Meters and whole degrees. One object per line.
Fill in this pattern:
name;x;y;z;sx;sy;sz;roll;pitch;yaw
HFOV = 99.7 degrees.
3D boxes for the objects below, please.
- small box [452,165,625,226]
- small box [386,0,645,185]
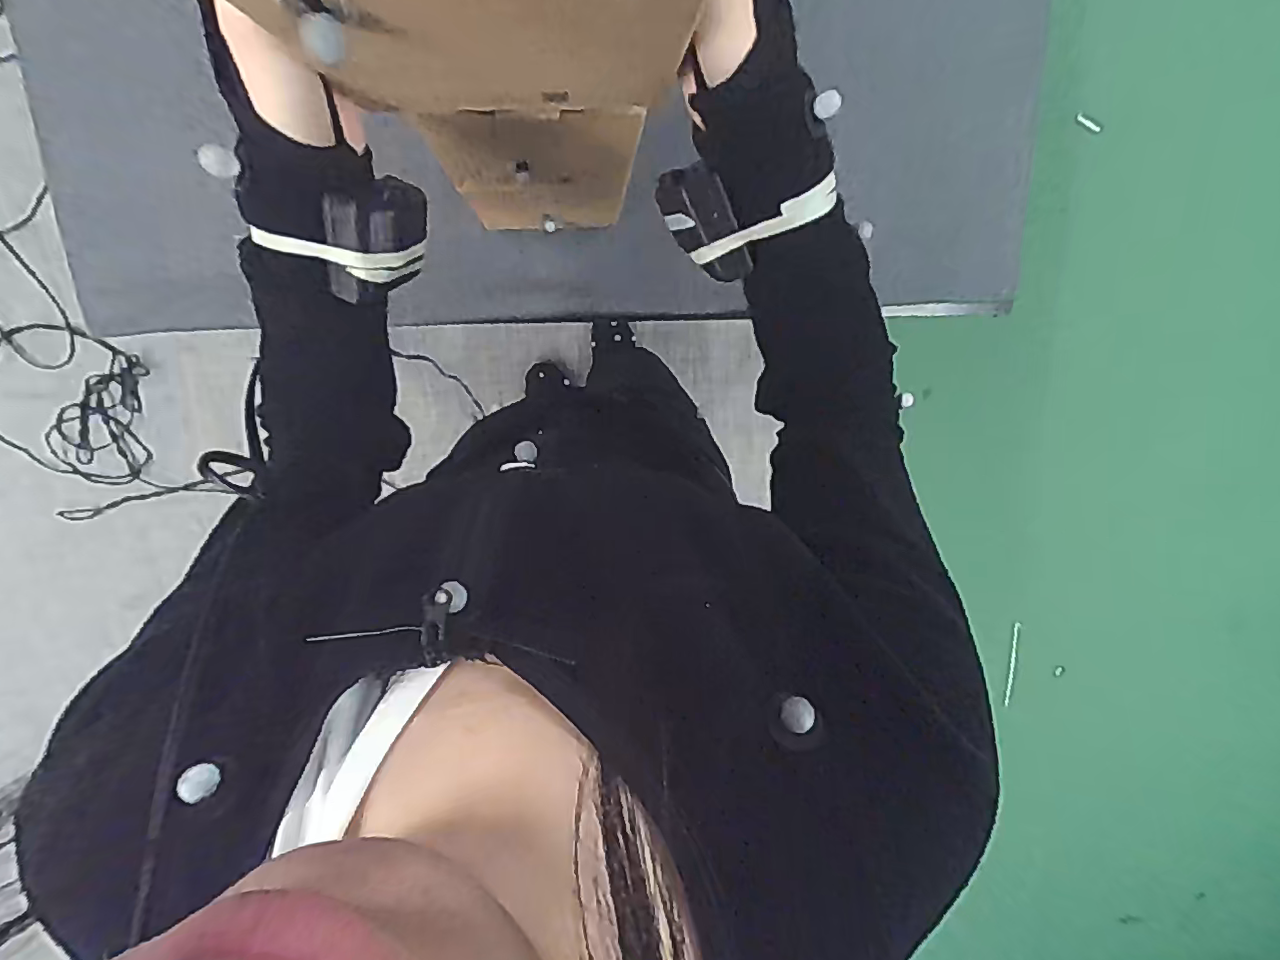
small box;-0.107;-0.386;0.577;0.168;0.176;0.179;-4;103;-5
small box;-0.090;-0.352;0.420;0.168;0.176;0.179;-4;103;-6
